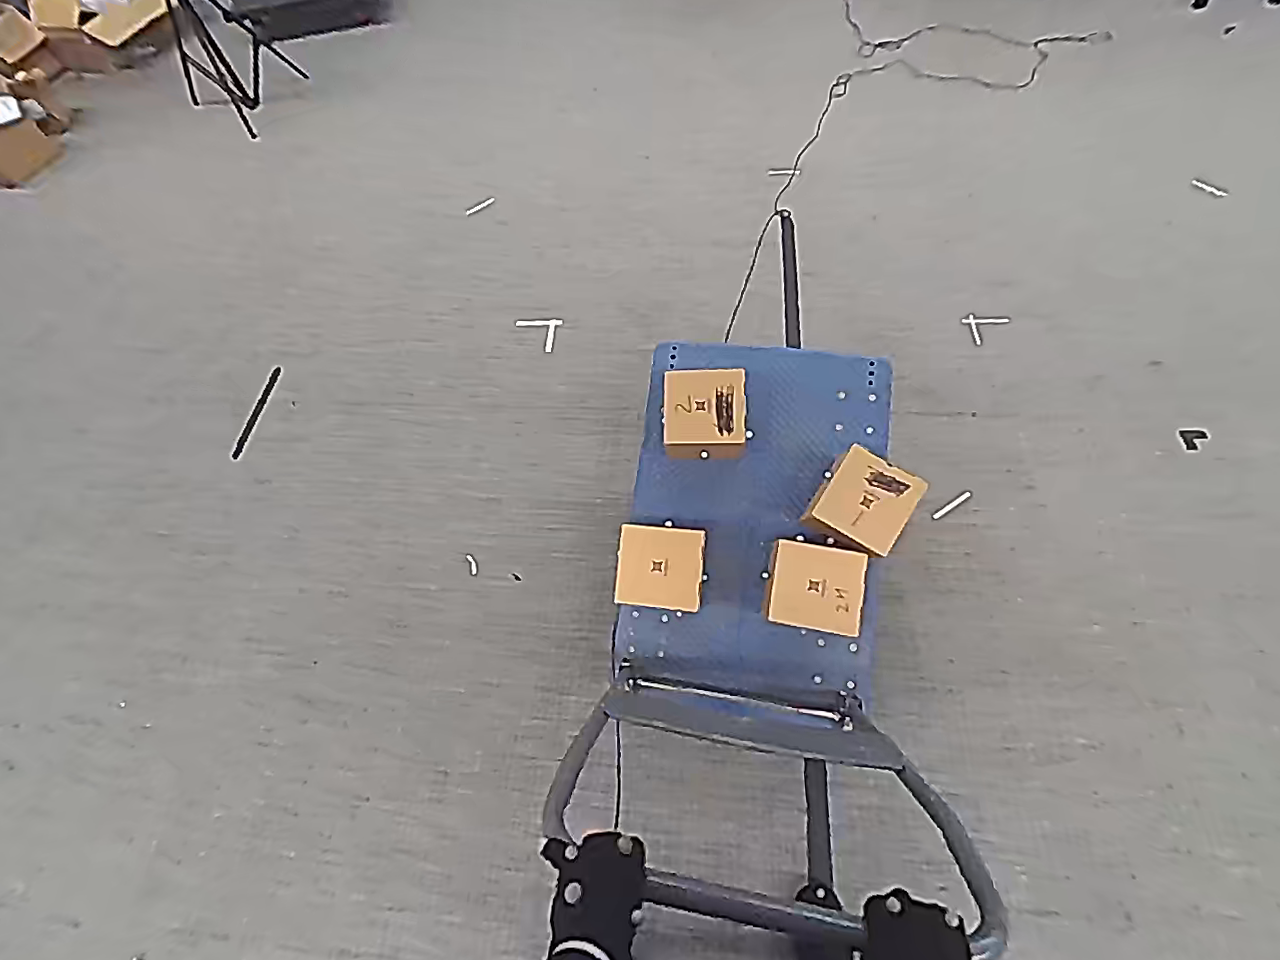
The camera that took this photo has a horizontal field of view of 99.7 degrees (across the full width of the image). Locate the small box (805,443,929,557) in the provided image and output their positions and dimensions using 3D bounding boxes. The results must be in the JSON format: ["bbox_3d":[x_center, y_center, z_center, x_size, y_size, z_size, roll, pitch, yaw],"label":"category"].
[{"bbox_3d":[0.471,0.049,1.156,0.168,0.176,0.179,32,87,12],"label":"small box"}]

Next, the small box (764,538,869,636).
[{"bbox_3d":[0.363,0.222,1.141,0.179,0.176,0.168,9,82,10],"label":"small box"}]

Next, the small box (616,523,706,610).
[{"bbox_3d":[0.052,0.191,1.191,0.179,0.176,0.168,4,81,7],"label":"small box"}]
